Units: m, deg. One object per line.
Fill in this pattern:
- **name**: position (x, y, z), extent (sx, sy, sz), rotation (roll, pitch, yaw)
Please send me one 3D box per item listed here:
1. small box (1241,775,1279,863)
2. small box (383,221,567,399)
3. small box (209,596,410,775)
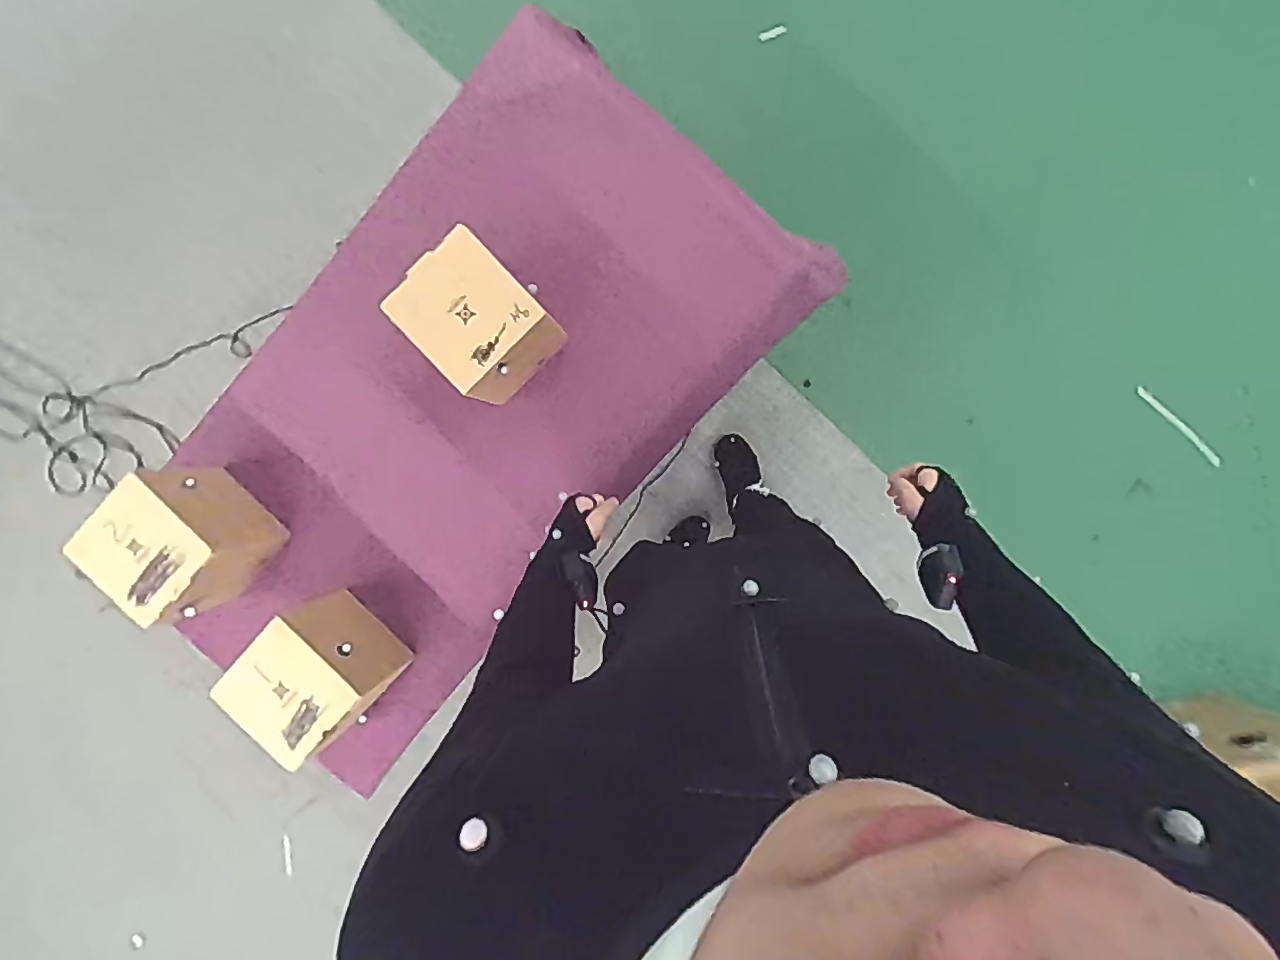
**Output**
- **small box**: position (1.497, 0.765, 1.180), extent (0.179, 0.176, 0.168), rotation (-12, 92, 5)
- **small box**: position (-0.237, -0.241, 0.821), extent (0.168, 0.176, 0.179), rotation (-43, 89, 5)
- **small box**: position (-0.508, 0.311, 0.861), extent (0.179, 0.176, 0.168), rotation (43, 94, 2)
